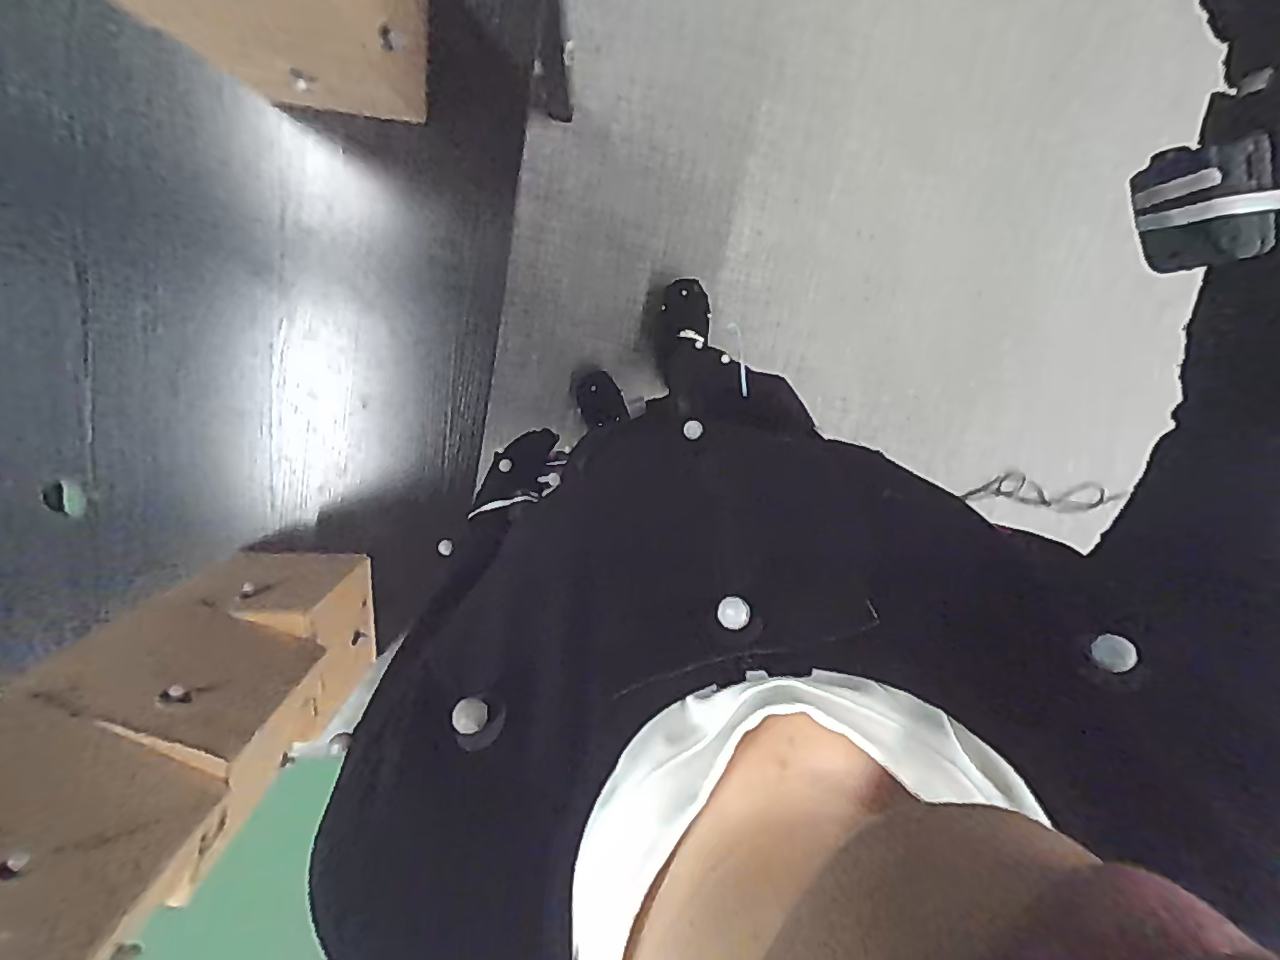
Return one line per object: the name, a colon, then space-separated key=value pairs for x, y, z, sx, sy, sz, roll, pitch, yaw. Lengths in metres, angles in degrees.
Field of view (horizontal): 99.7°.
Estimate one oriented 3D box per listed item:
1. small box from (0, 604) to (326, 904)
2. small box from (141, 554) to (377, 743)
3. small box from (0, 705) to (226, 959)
small box: x=-0.440 y=0.244 z=0.515 sx=0.179 sy=0.176 sz=0.168 roll=23 pitch=101 yaw=-10
small box: x=-0.452 y=0.199 z=0.673 sx=0.179 sy=0.176 sz=0.168 roll=1 pitch=104 yaw=-6
small box: x=-0.433 y=0.287 z=0.356 sx=0.179 sy=0.176 sz=0.168 roll=33 pitch=98 yaw=-13
